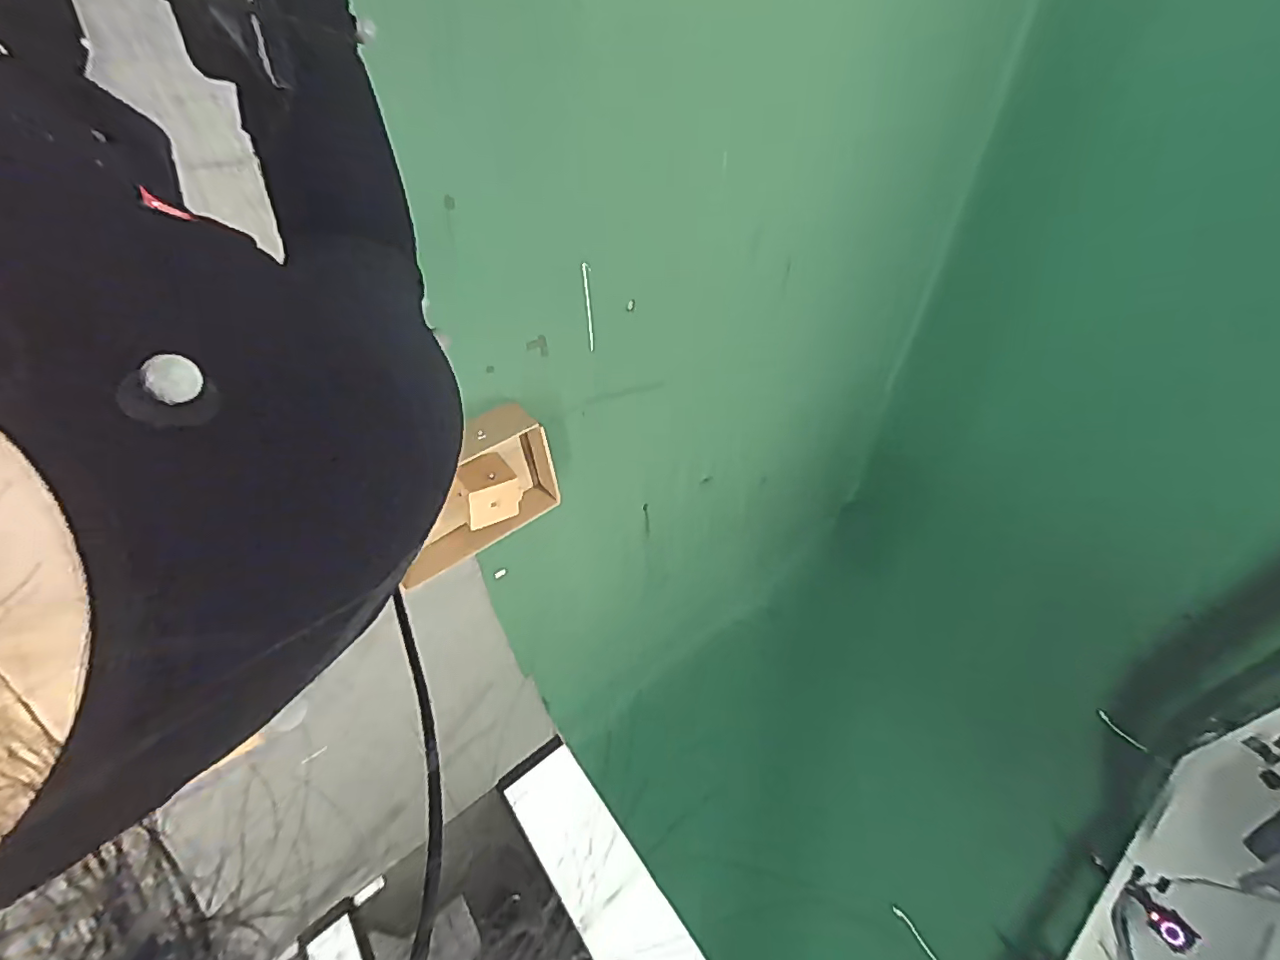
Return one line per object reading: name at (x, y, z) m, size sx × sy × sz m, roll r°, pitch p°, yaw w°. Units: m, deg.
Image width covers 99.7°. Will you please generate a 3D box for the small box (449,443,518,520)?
small box at (-0.528, 0.002, 1.817) m, size 0.179 × 0.176 × 0.168 m, roll -21°, pitch 139°, yaw -32°
